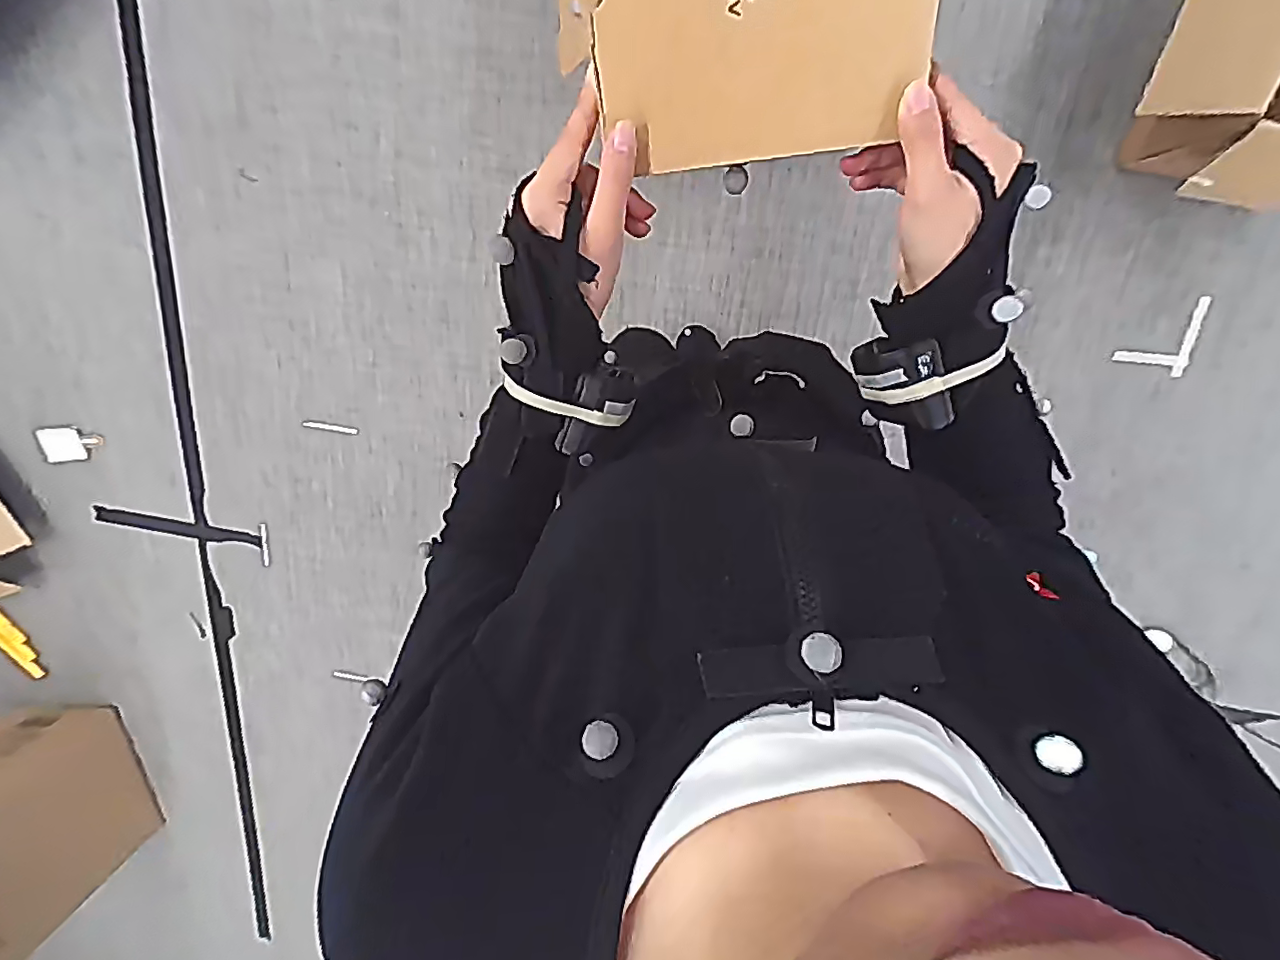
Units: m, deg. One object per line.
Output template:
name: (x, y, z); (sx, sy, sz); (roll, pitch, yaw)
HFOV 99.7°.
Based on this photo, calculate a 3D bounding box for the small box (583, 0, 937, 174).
small box: (0.056, -0.291, 0.326); (0.179, 0.176, 0.168); (-6, 121, 3)
